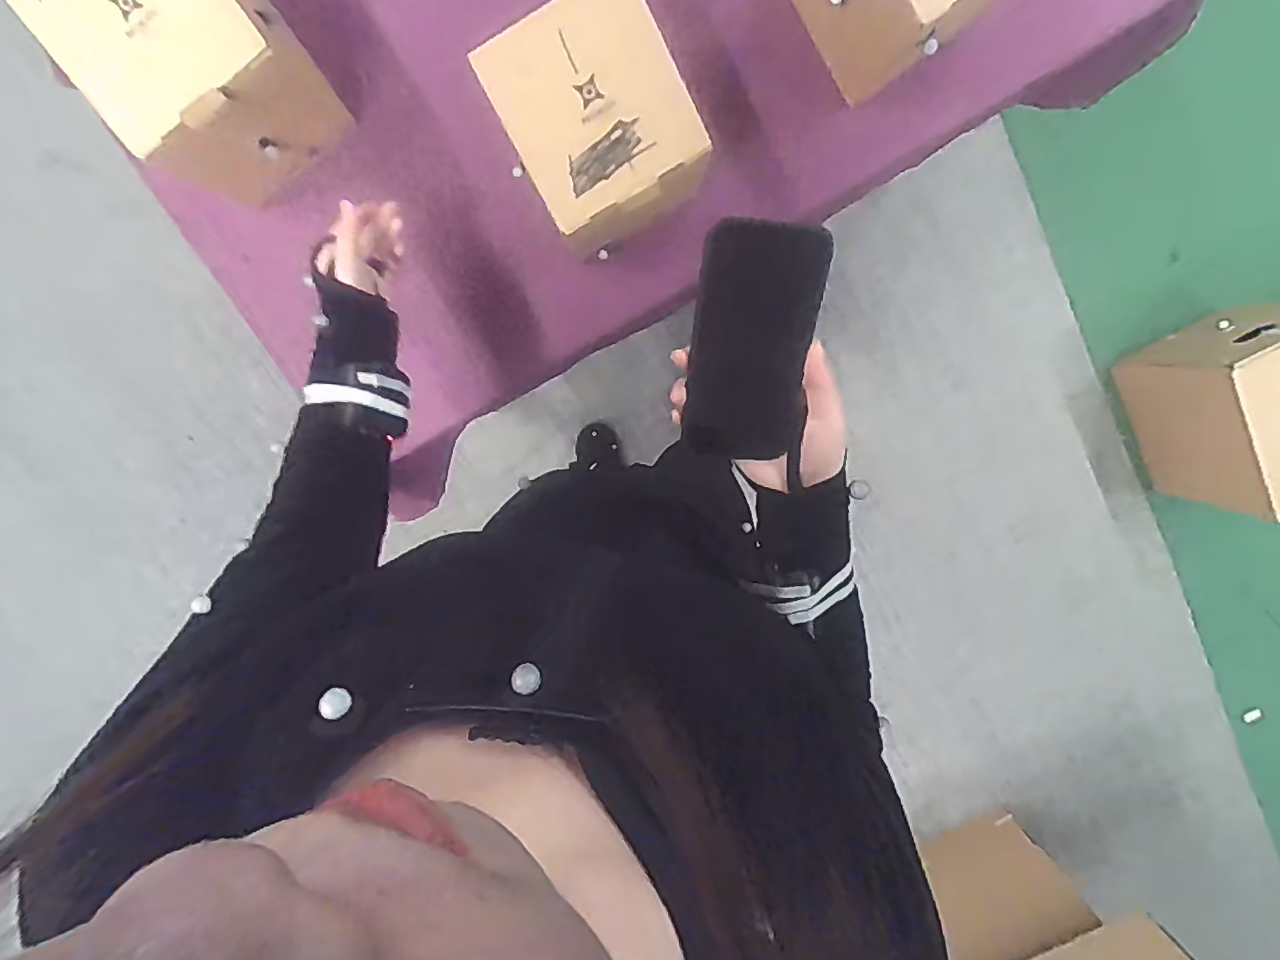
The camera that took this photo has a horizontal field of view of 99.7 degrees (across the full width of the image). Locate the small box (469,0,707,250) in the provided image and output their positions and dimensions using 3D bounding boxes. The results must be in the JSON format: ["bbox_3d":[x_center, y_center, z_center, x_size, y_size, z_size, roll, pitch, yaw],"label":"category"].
[{"bbox_3d":[-0.046,-0.367,0.576,0.168,0.176,0.179,-28,101,5],"label":"small box"}]

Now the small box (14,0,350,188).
[{"bbox_3d":[-0.445,-0.430,0.553,0.168,0.176,0.179,-33,102,5],"label":"small box"}]
